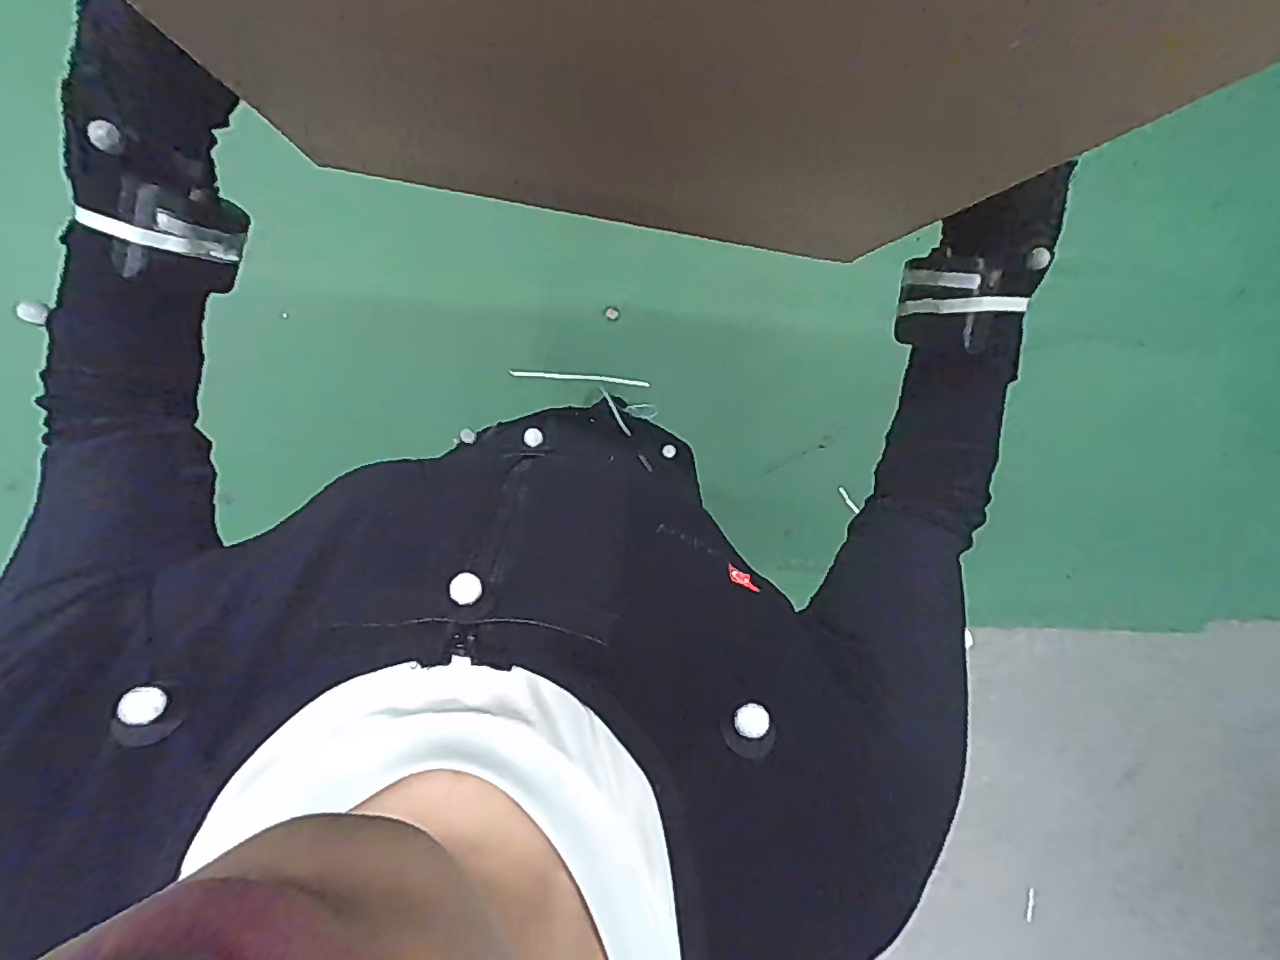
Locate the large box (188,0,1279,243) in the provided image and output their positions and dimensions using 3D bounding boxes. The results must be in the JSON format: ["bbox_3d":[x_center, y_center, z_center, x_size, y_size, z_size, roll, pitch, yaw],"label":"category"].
[{"bbox_3d":[0.015,-0.331,0.235,0.408,0.320,0.320,7,99,-9],"label":"large box"}]
